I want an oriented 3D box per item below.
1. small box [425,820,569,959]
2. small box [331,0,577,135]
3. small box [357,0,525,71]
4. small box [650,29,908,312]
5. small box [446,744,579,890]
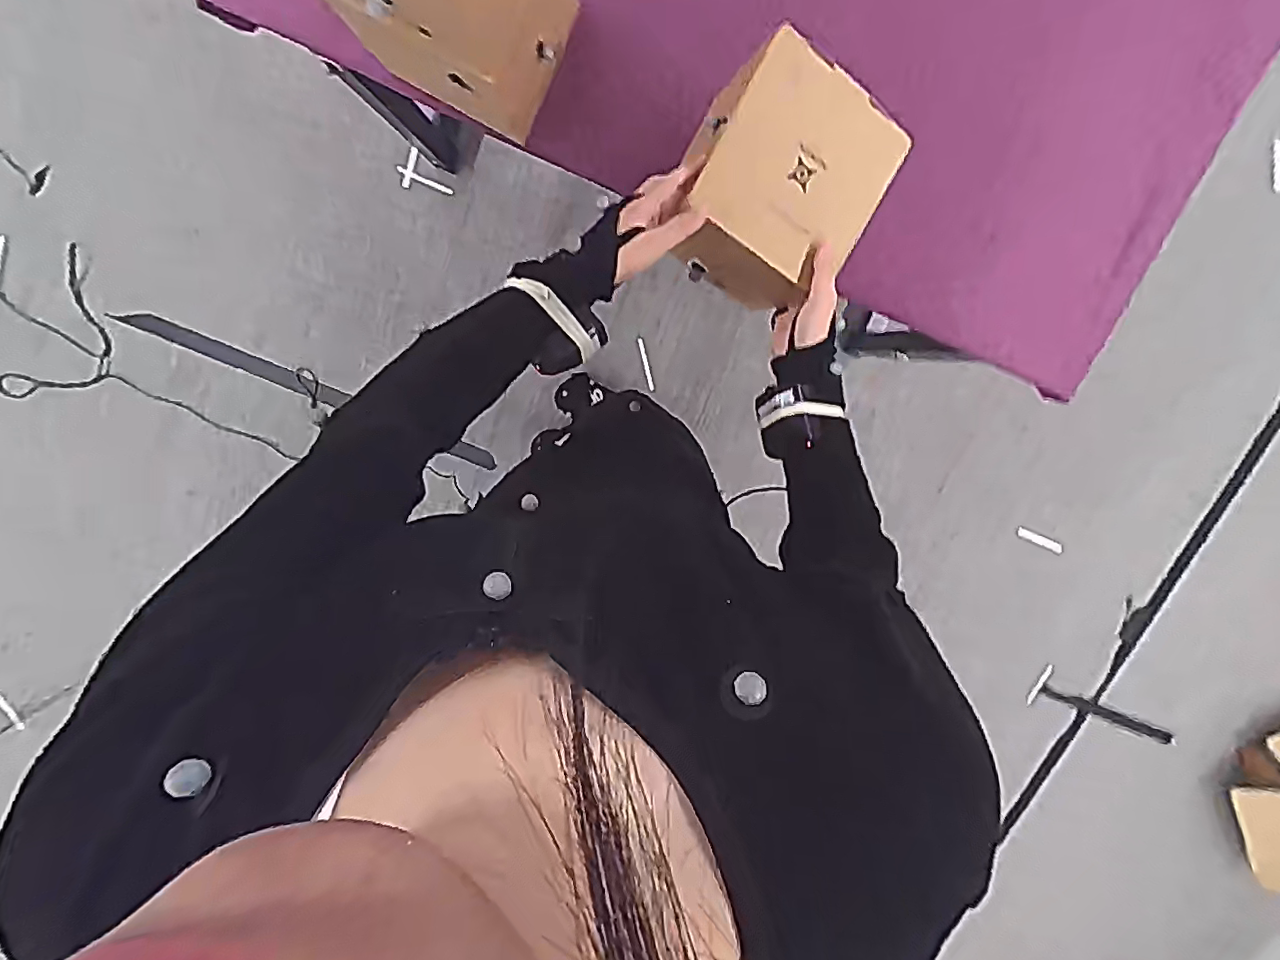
[{"bbox_3d":[-0.213,0.659,0.810,0.168,0.176,0.179,22,103,-7],"label":"small box"},{"bbox_3d":[-0.176,-0.493,0.553,0.179,0.176,0.168,26,101,-8],"label":"small box"},{"bbox_3d":[-0.164,-0.460,0.392,0.168,0.176,0.179,25,103,-8],"label":"small box"},{"bbox_3d":[0.130,-0.299,0.572,0.168,0.176,0.179,27,96,-19],"label":"small box"},{"bbox_3d":[-0.217,0.622,0.969,0.168,0.176,0.179,23,103,-7],"label":"small box"}]
